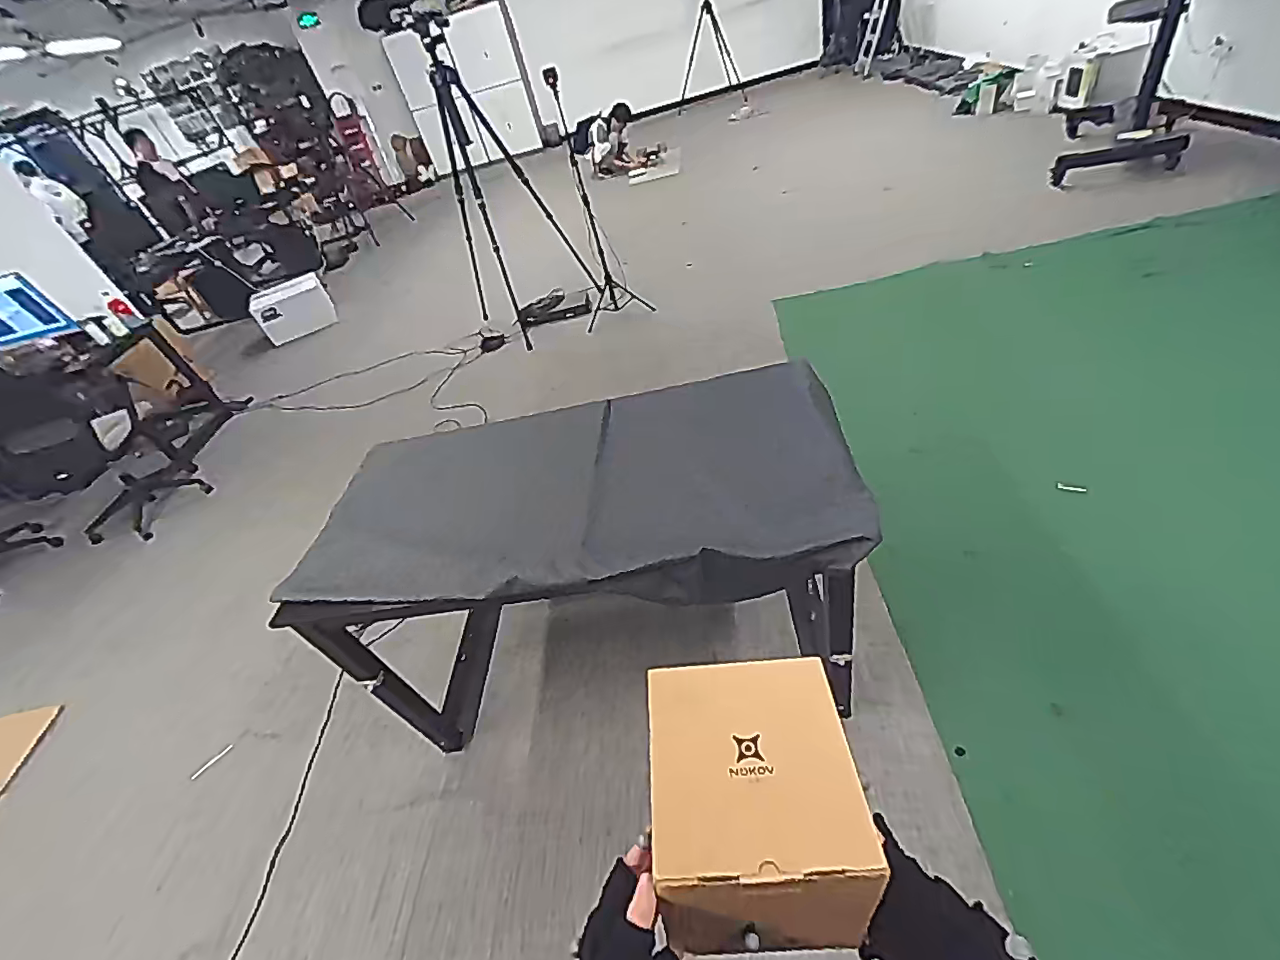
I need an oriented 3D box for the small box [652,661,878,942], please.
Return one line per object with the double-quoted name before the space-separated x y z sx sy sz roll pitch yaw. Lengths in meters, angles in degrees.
"small box" 0.098 0.296 0.506 0.168 0.176 0.179 -5 37 3
